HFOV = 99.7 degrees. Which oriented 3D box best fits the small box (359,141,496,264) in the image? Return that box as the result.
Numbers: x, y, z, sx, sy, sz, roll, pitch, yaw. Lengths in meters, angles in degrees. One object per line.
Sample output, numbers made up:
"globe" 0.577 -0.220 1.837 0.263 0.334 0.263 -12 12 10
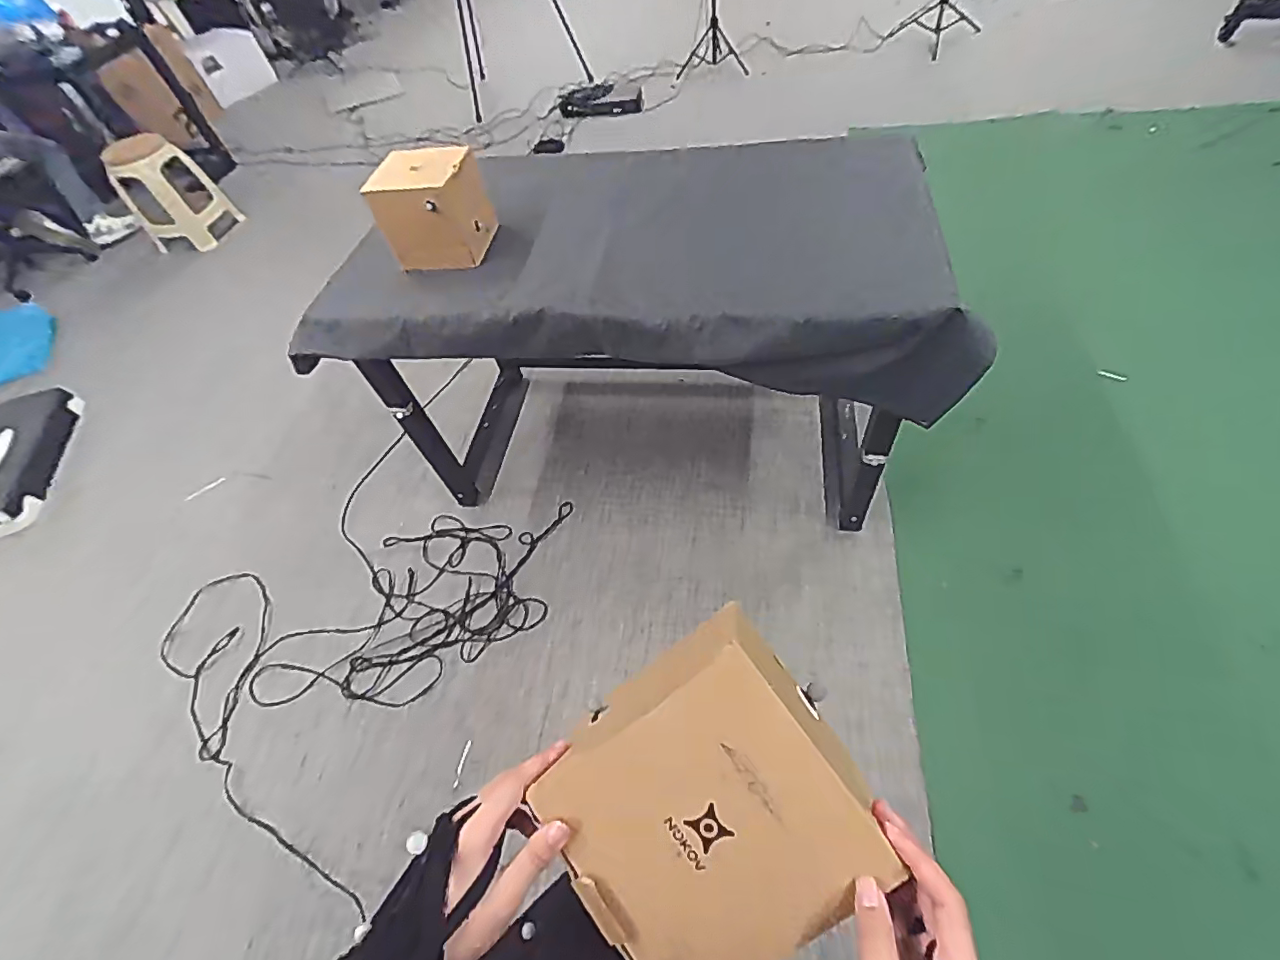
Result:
"small box" -0.419 -0.556 1.096 0.179 0.176 0.168 2 55 9
